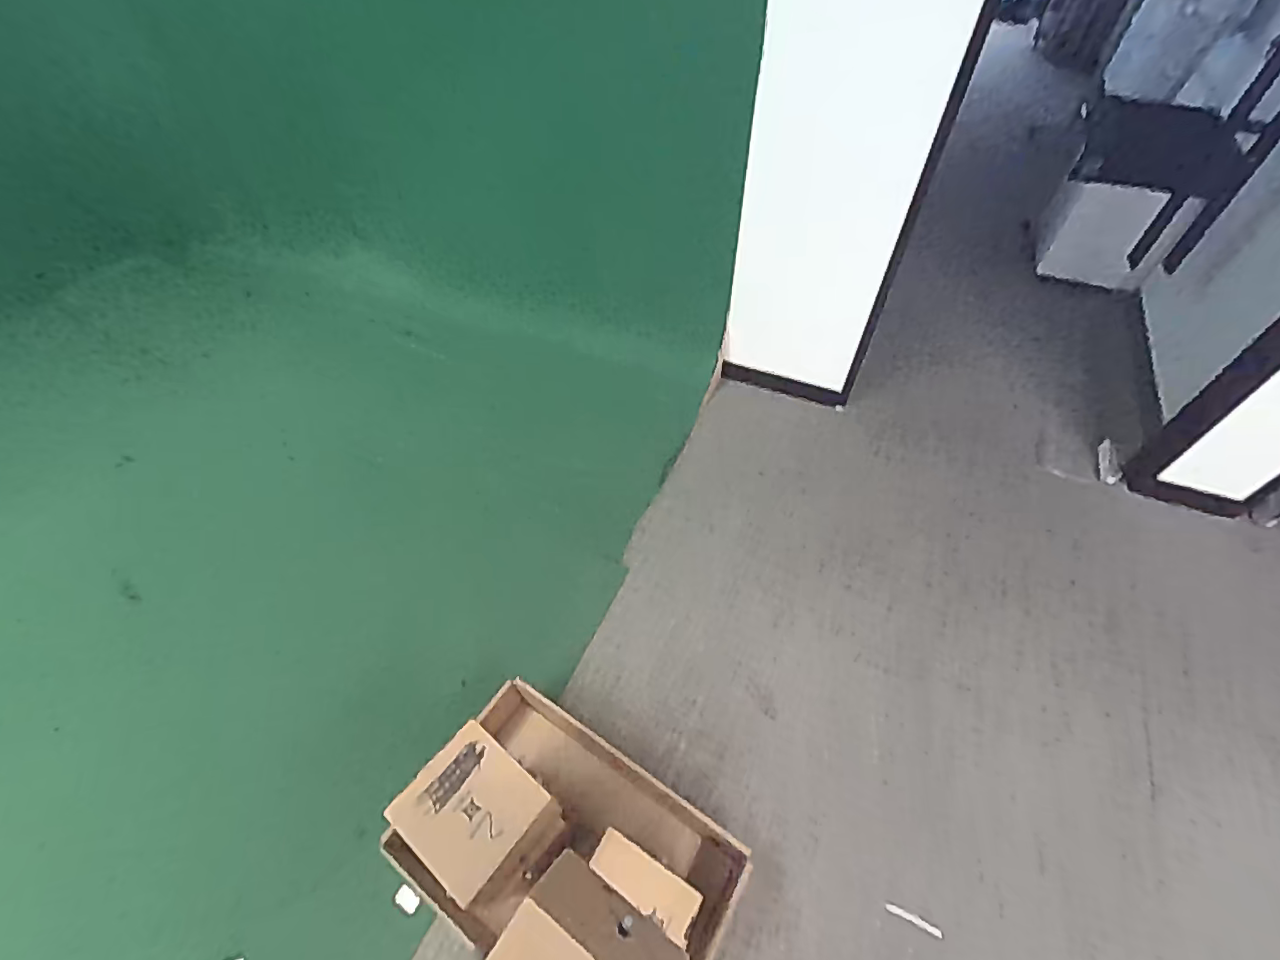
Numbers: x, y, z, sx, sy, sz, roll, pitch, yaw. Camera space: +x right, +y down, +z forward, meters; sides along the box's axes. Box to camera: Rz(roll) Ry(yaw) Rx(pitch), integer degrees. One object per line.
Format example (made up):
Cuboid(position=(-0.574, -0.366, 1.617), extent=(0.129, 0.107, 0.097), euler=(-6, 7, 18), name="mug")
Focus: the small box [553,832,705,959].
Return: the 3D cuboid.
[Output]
Cuboid(position=(-0.012, 0.710, 0.876), extent=(0.179, 0.176, 0.168), euler=(25, 56, 22), name="small box")
